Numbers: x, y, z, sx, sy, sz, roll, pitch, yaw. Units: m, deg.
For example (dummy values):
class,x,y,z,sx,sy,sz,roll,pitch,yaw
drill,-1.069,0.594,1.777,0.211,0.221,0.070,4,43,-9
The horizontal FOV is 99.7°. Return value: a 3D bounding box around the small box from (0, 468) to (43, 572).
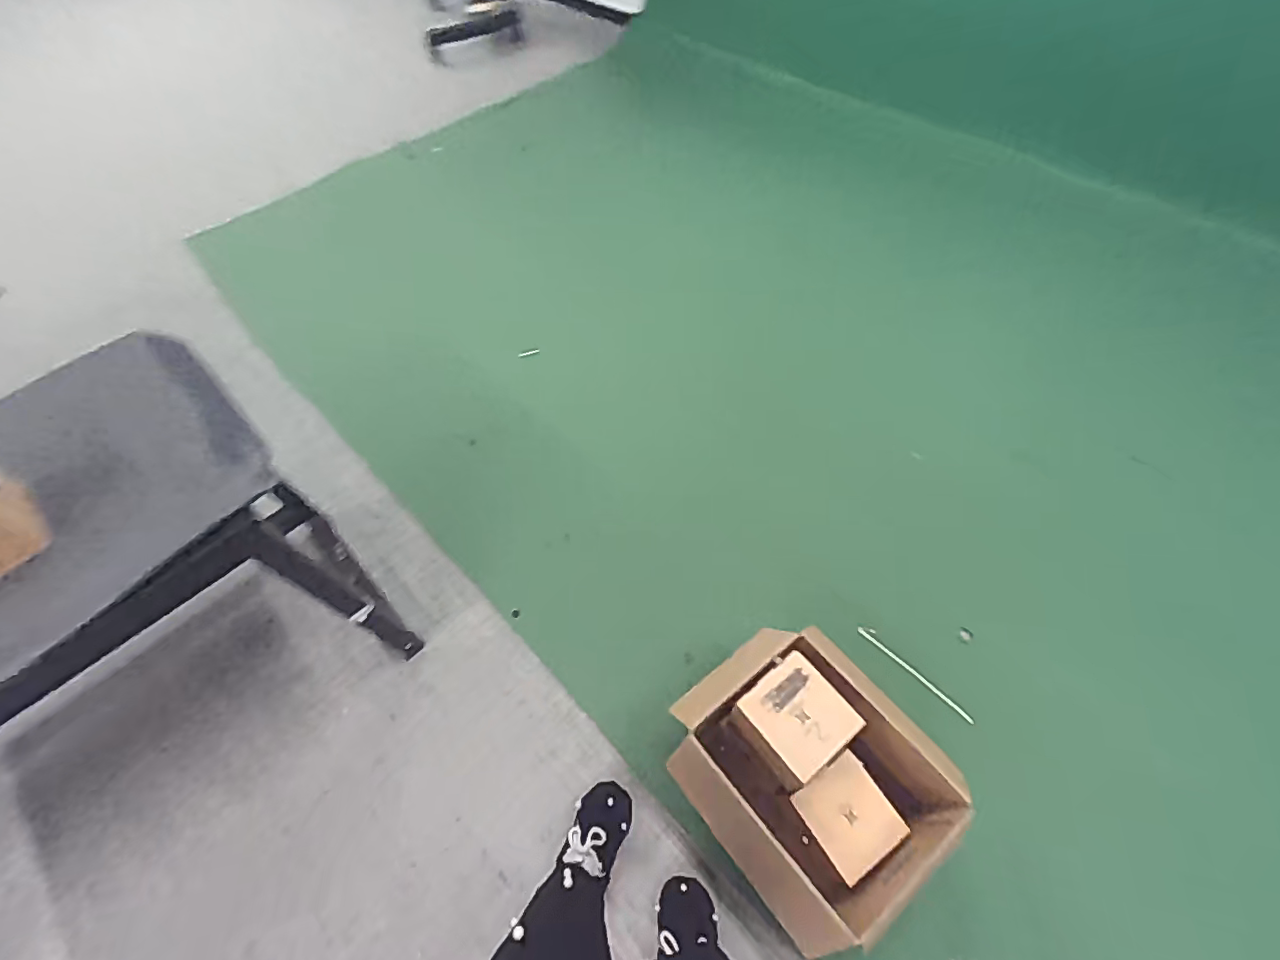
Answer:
class,x,y,z,sx,sy,sz,roll,pitch,yaw
small box,-1.011,0.055,0.758,0.168,0.176,0.179,38,66,24
